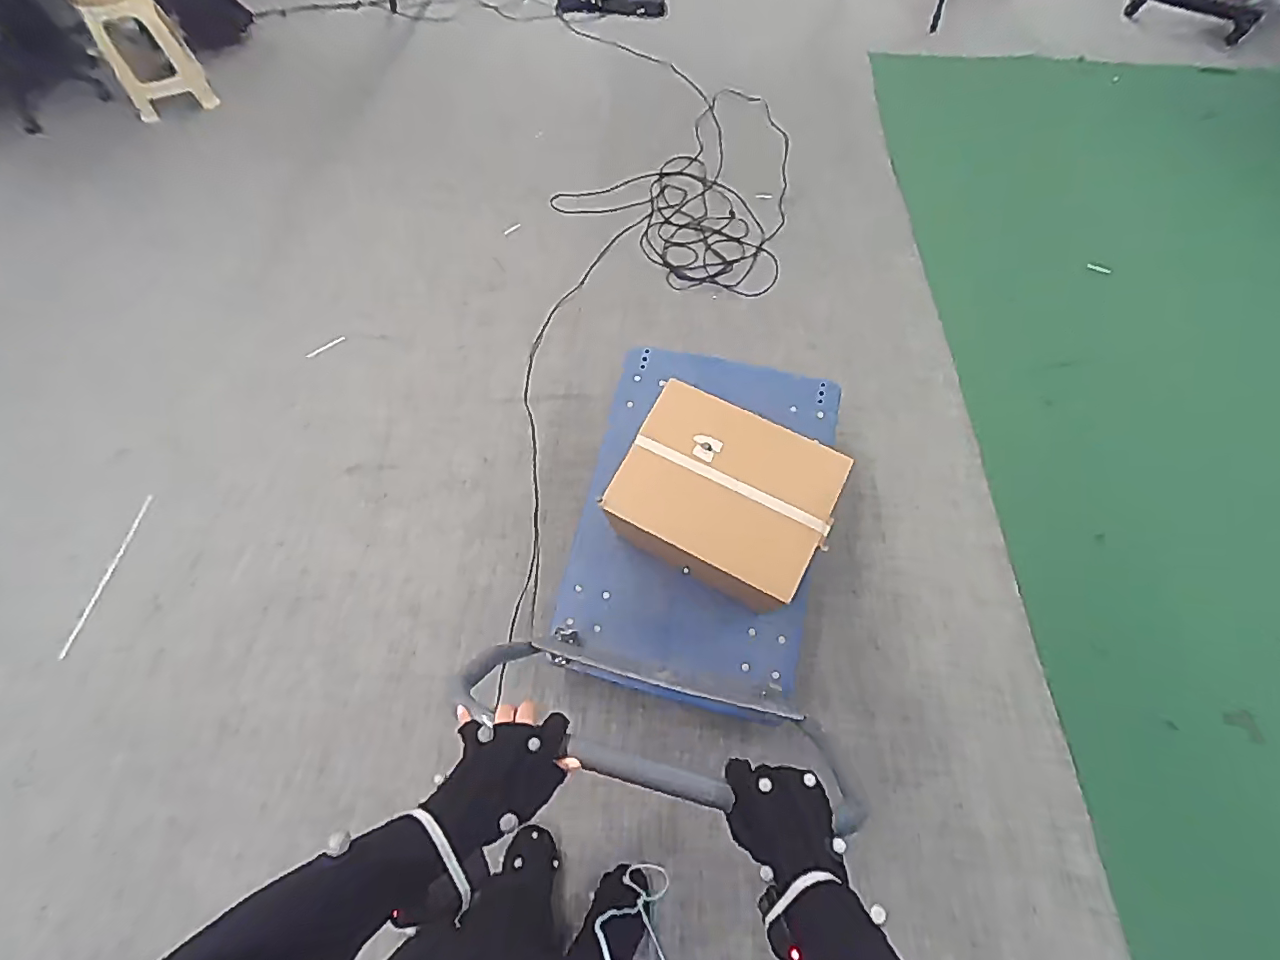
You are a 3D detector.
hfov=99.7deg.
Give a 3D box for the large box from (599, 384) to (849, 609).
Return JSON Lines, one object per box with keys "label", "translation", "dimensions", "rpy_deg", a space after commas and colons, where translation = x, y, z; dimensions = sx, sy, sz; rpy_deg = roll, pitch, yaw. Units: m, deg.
{"label": "large box", "translation": [0.177, 0.053, 1.193], "dimensions": [0.408, 0.320, 0.320], "rpy_deg": [27, 77, 12]}
